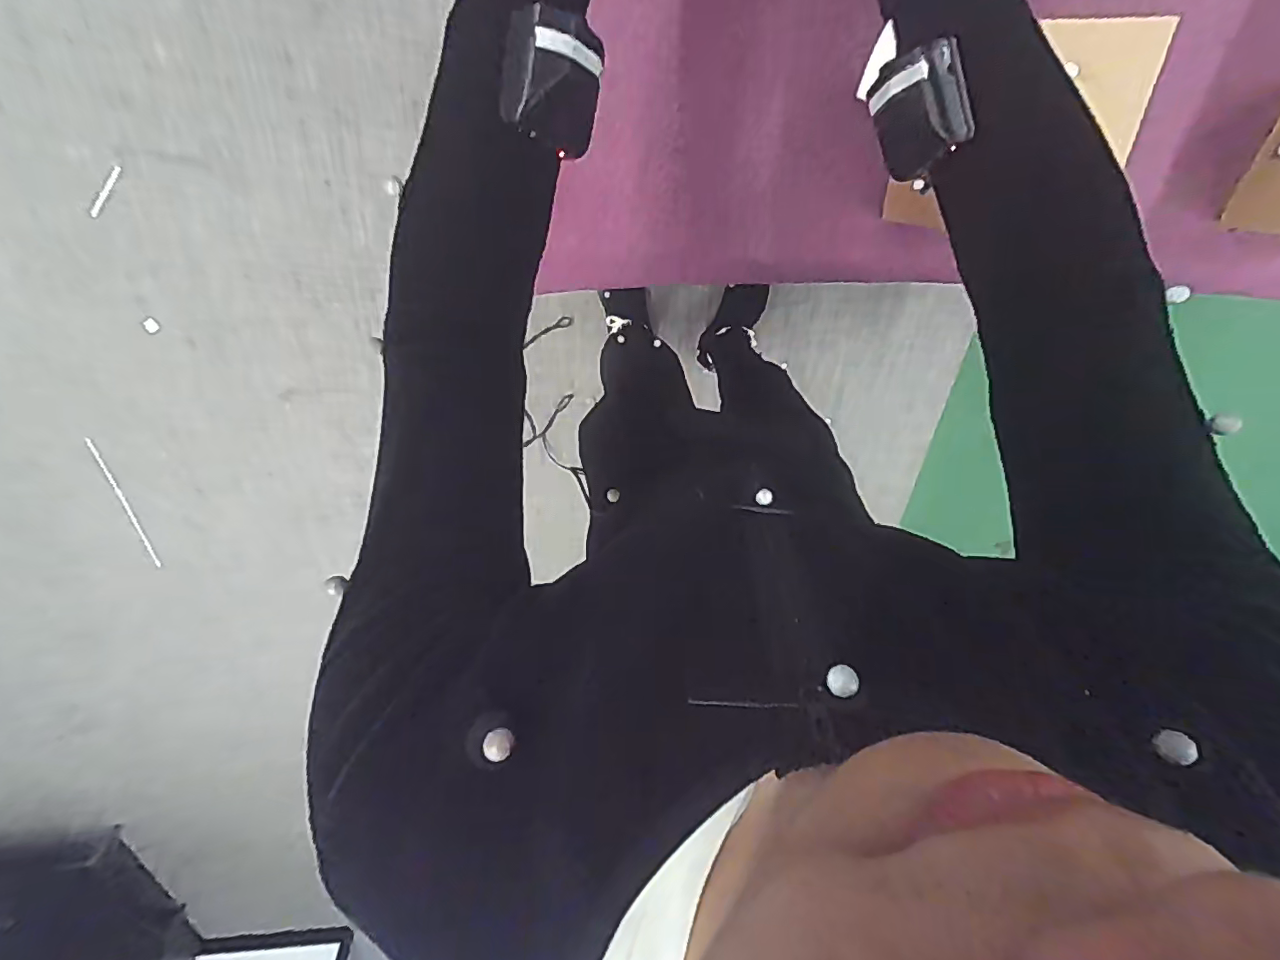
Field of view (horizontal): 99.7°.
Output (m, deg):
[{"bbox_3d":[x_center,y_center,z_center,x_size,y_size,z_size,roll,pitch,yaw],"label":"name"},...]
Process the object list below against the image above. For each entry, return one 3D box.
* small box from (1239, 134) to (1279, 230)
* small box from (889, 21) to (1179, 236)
[{"bbox_3d":[0.888,-0.377,0.632,0.168,0.176,0.179,4,120,-7],"label":"small box"},{"bbox_3d":[0.399,-0.374,0.592,0.168,0.176,0.179,-4,120,-4],"label":"small box"}]
